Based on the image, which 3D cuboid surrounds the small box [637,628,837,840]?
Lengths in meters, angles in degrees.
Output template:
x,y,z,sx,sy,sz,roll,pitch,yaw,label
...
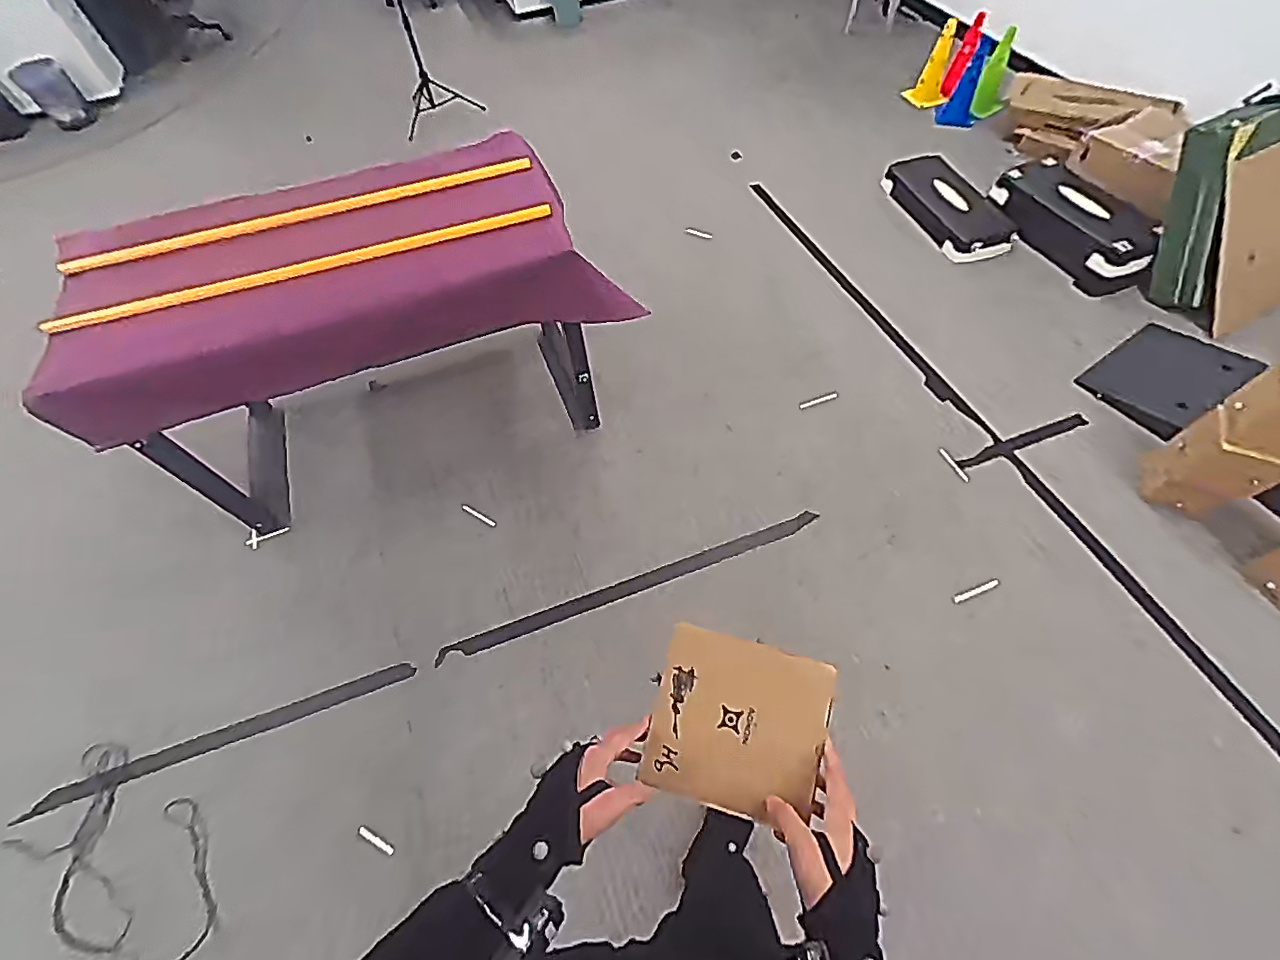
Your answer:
x,y,z,sx,sy,sz,roll,pitch,yaw,label
0.107,0.279,0.637,0.179,0.176,0.168,15,75,8,small box
